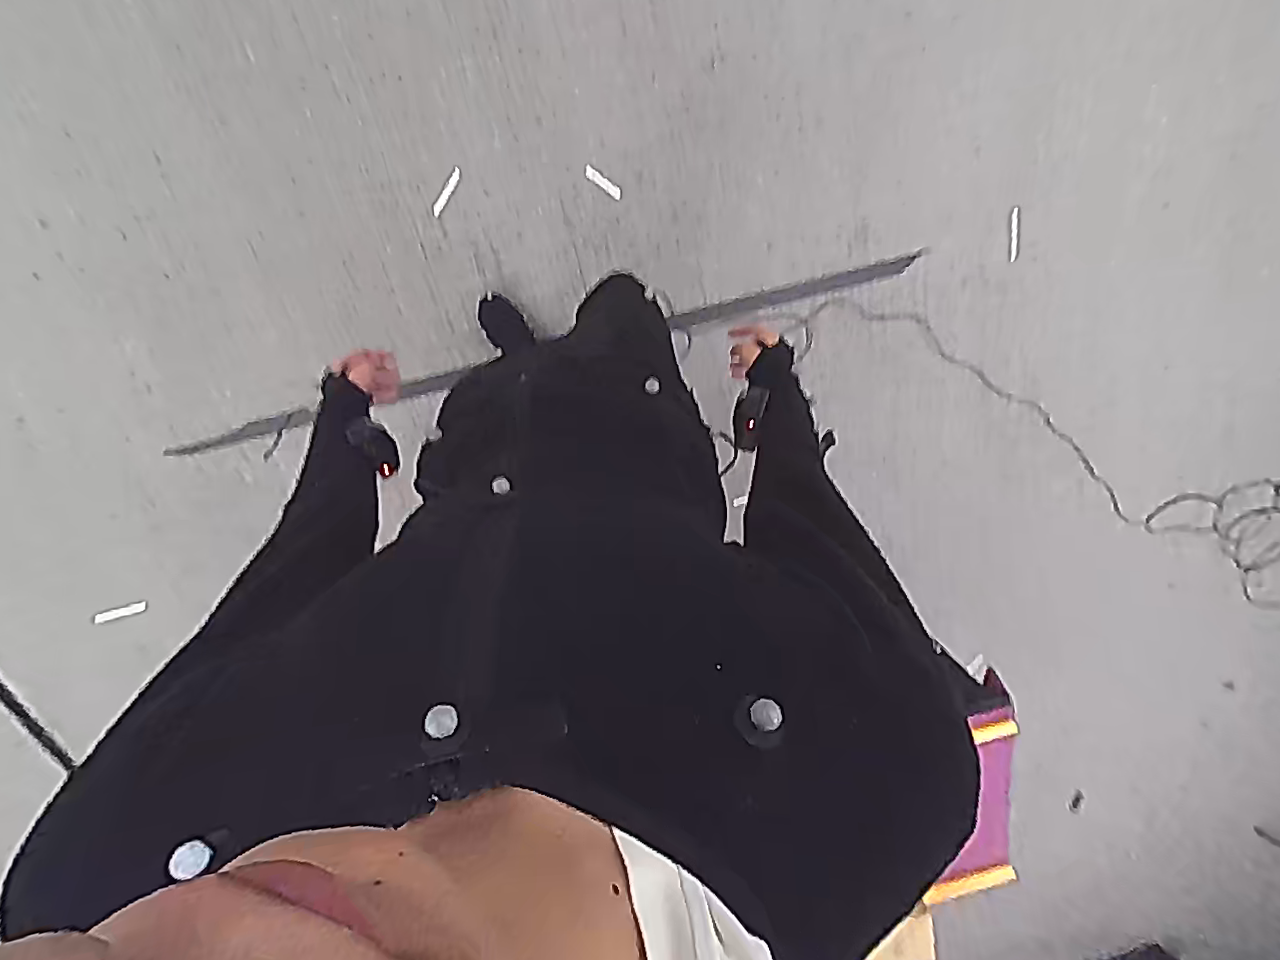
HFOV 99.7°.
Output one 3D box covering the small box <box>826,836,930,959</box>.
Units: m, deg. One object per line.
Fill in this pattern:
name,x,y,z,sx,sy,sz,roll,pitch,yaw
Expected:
small box,0.561,0.999,1.286,0.168,0.176,0.179,-15,110,-3
